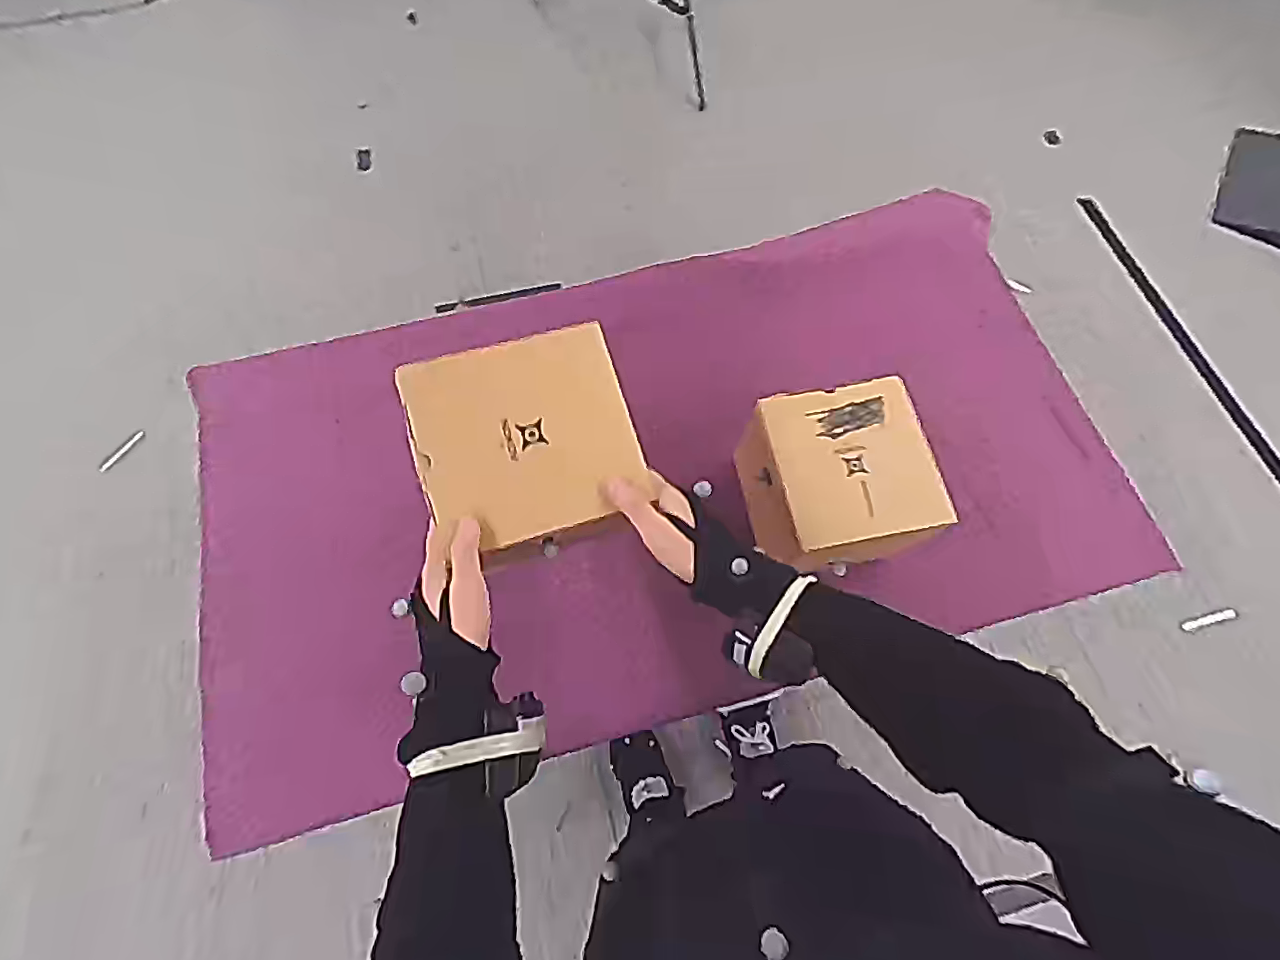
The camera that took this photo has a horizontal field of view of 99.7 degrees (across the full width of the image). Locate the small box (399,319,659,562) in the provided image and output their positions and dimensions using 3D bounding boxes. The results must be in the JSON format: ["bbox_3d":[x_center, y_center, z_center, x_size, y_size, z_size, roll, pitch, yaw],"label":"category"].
[{"bbox_3d":[-0.099,-0.026,0.513,0.179,0.176,0.168,-16,82,-10],"label":"small box"}]

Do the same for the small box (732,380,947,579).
[{"bbox_3d":[0.218,0.007,0.649,0.168,0.176,0.179,-10,71,-4],"label":"small box"}]
